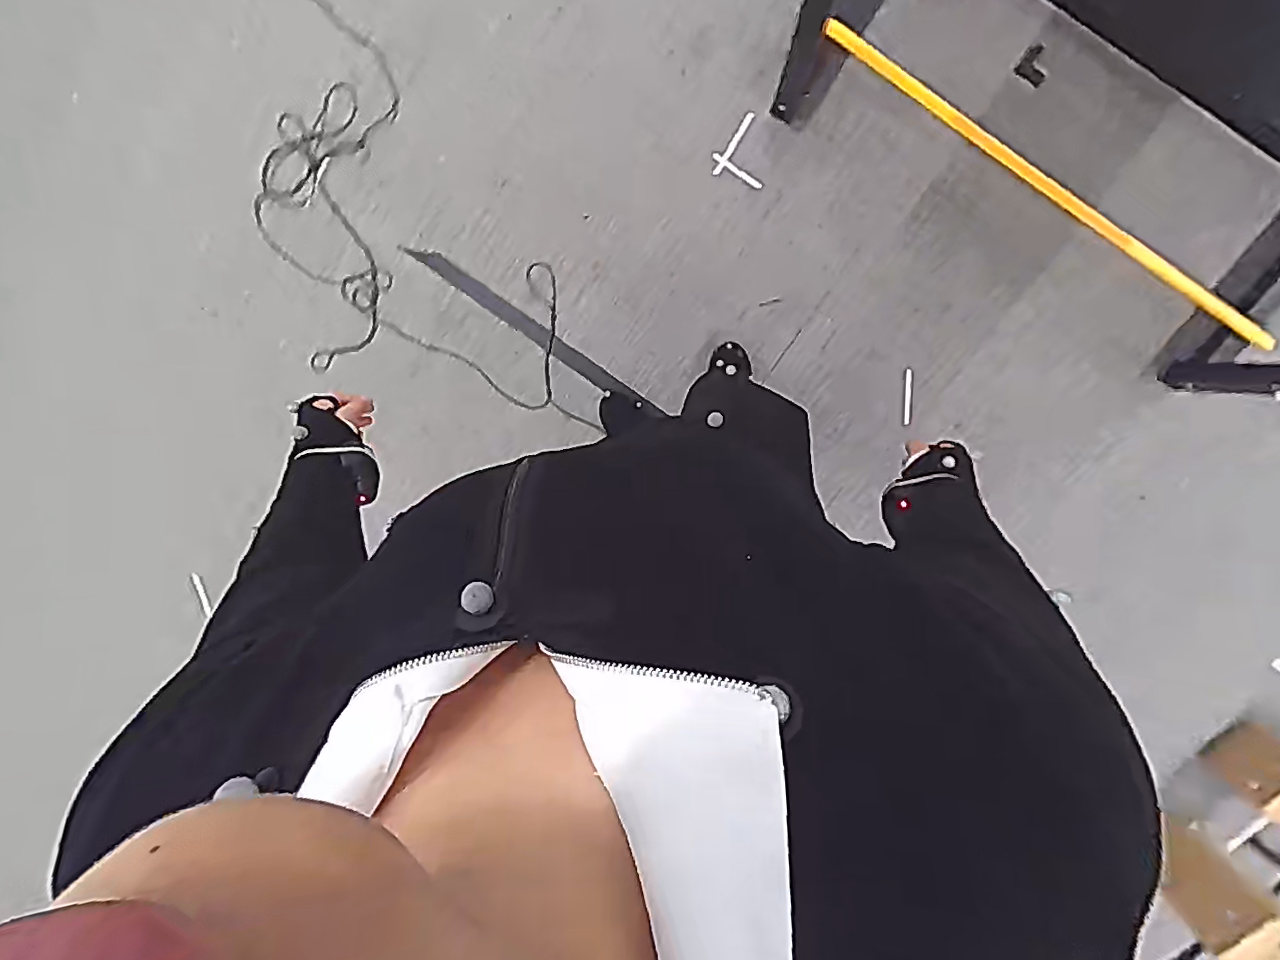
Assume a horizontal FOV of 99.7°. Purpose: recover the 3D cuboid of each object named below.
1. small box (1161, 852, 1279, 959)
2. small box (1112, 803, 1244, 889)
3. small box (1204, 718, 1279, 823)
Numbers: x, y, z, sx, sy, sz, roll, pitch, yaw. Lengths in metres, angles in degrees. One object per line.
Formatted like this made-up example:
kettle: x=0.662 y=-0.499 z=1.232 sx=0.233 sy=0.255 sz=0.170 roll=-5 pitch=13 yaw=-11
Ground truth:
small box: x=1.460 y=1.068 z=1.325 sx=0.168 sy=0.176 sz=0.179 roll=34 pitch=105 yaw=-2
small box: x=1.475 y=1.035 z=1.487 sx=0.179 sy=0.176 sz=0.168 roll=36 pitch=104 yaw=-1
small box: x=1.649 y=0.768 z=1.405 sx=0.168 sy=0.176 sz=0.179 roll=31 pitch=103 yaw=-1
